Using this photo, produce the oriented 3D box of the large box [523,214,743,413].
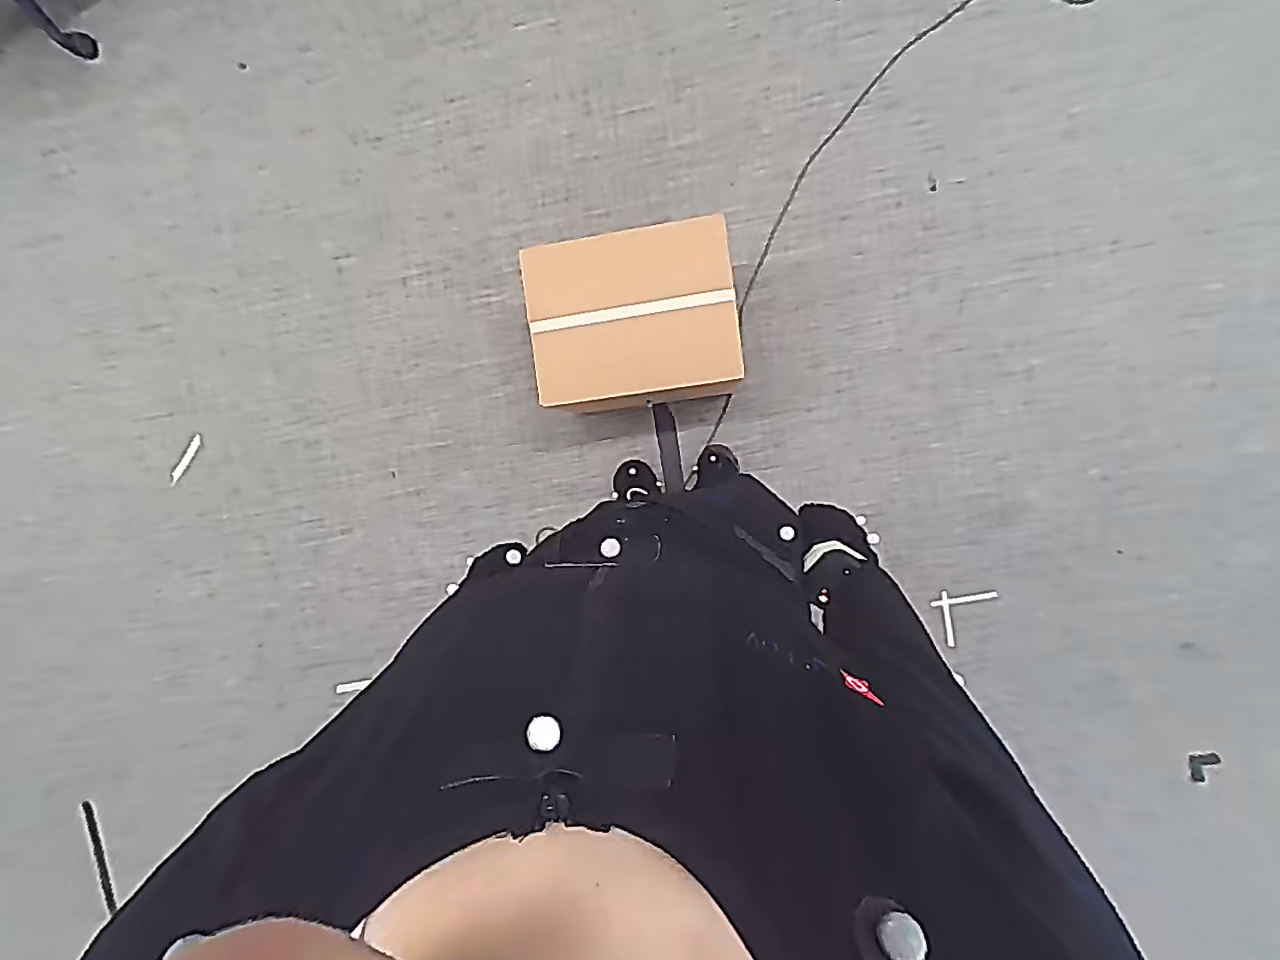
[{"bbox_3d":[-0.003,-0.337,1.200,0.408,0.320,0.320,-7,94,6],"label":"large box"}]
